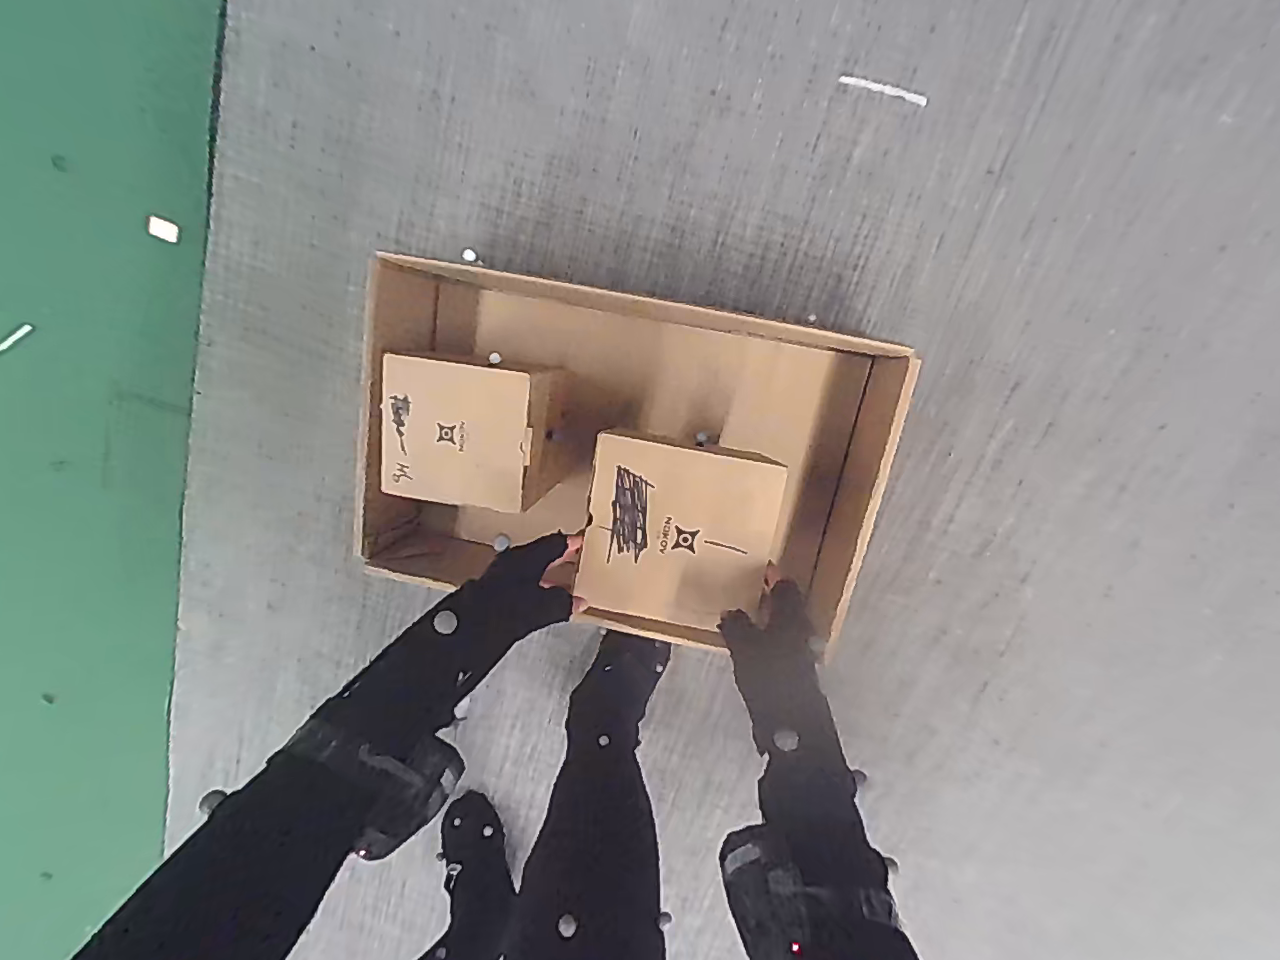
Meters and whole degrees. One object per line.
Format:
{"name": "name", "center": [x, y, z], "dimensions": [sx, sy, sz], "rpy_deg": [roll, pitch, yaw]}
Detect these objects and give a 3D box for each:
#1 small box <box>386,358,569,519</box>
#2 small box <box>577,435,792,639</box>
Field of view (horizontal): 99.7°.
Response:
{"name": "small box", "center": [-0.197, -0.063, 0.693], "dimensions": [0.179, 0.176, 0.168], "rpy_deg": [9, 103, 4]}
{"name": "small box", "center": [0.044, 0.046, 0.580], "dimensions": [0.179, 0.176, 0.168], "rpy_deg": [10, 98, 3]}
